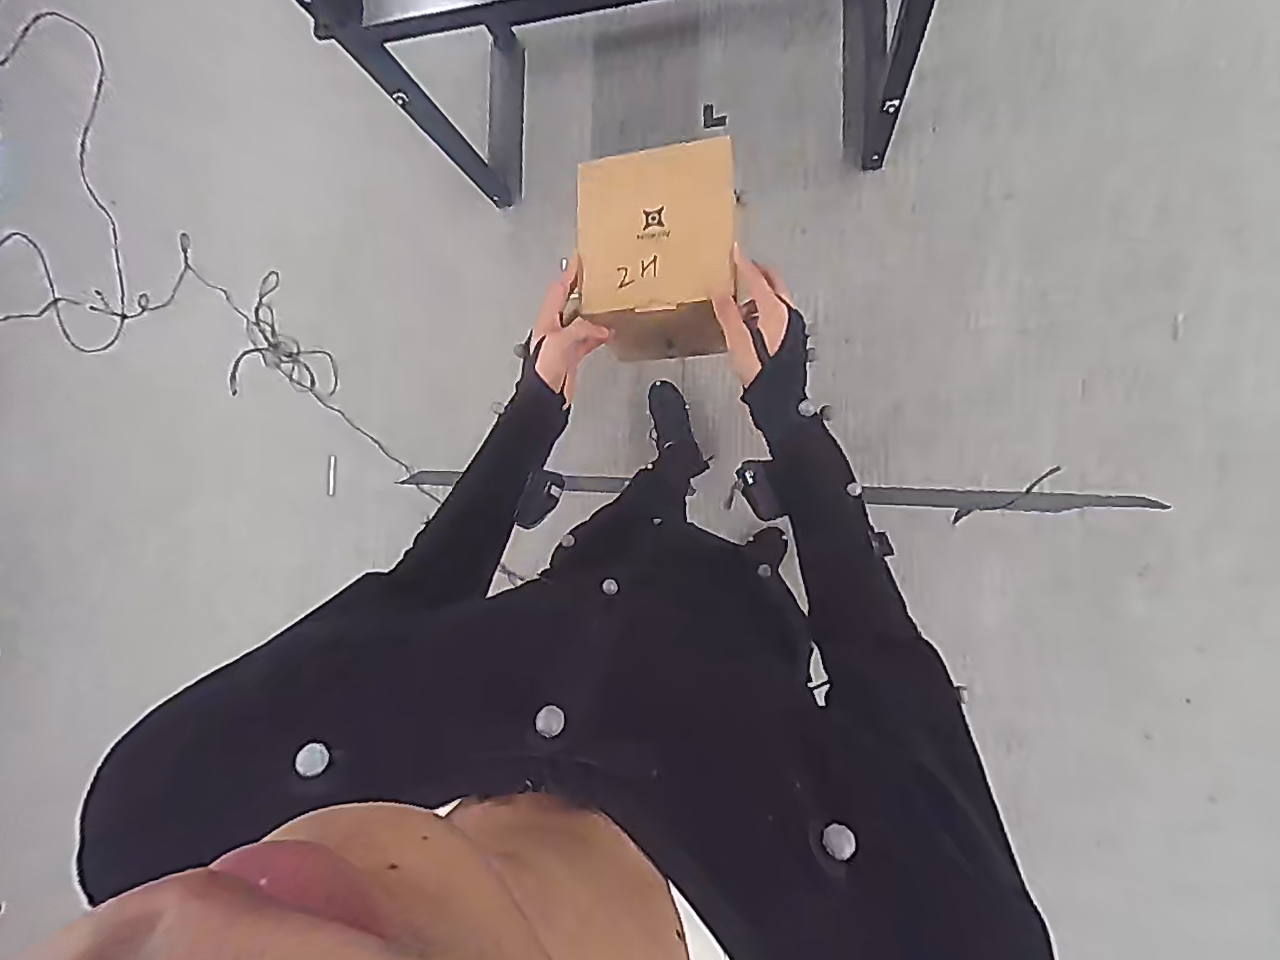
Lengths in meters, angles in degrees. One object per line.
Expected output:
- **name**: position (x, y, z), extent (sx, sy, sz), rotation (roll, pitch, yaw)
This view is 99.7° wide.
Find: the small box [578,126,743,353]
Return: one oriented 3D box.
- **small box**: position (0.032, -0.264, 0.634), extent (0.168, 0.176, 0.179), rotation (-2, 85, 14)
